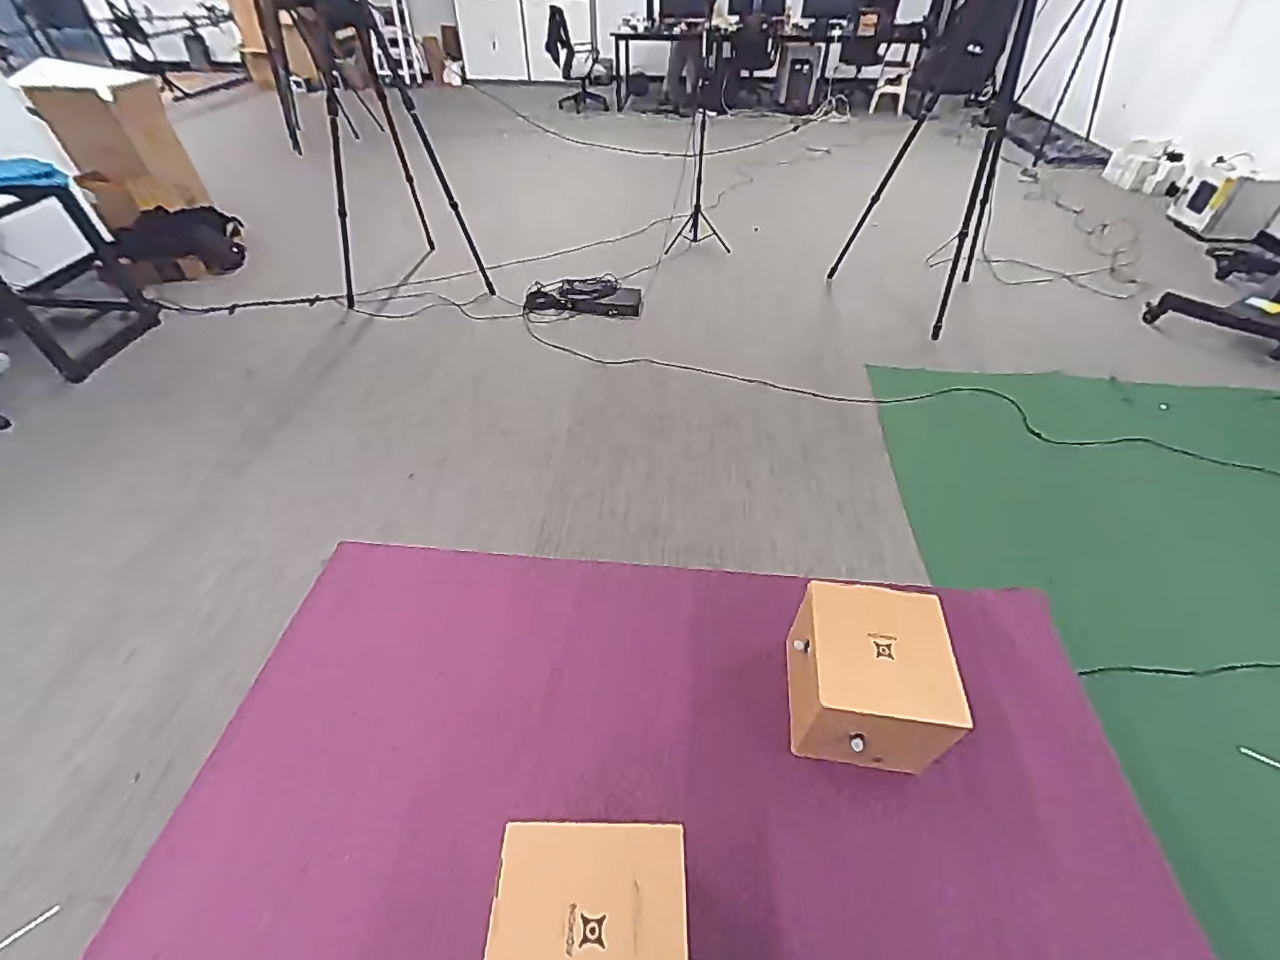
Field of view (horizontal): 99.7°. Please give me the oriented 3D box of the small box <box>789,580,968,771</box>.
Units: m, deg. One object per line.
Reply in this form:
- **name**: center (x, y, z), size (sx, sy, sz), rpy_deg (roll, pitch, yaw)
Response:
- **small box**: center (0.295, 0.260, 0.715), size (0.168, 0.176, 0.179), rpy_deg (6, 45, 7)

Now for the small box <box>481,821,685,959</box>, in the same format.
- **small box**: center (-0.047, 0.450, 0.527), size (0.179, 0.176, 0.168), rpy_deg (1, 45, 1)
